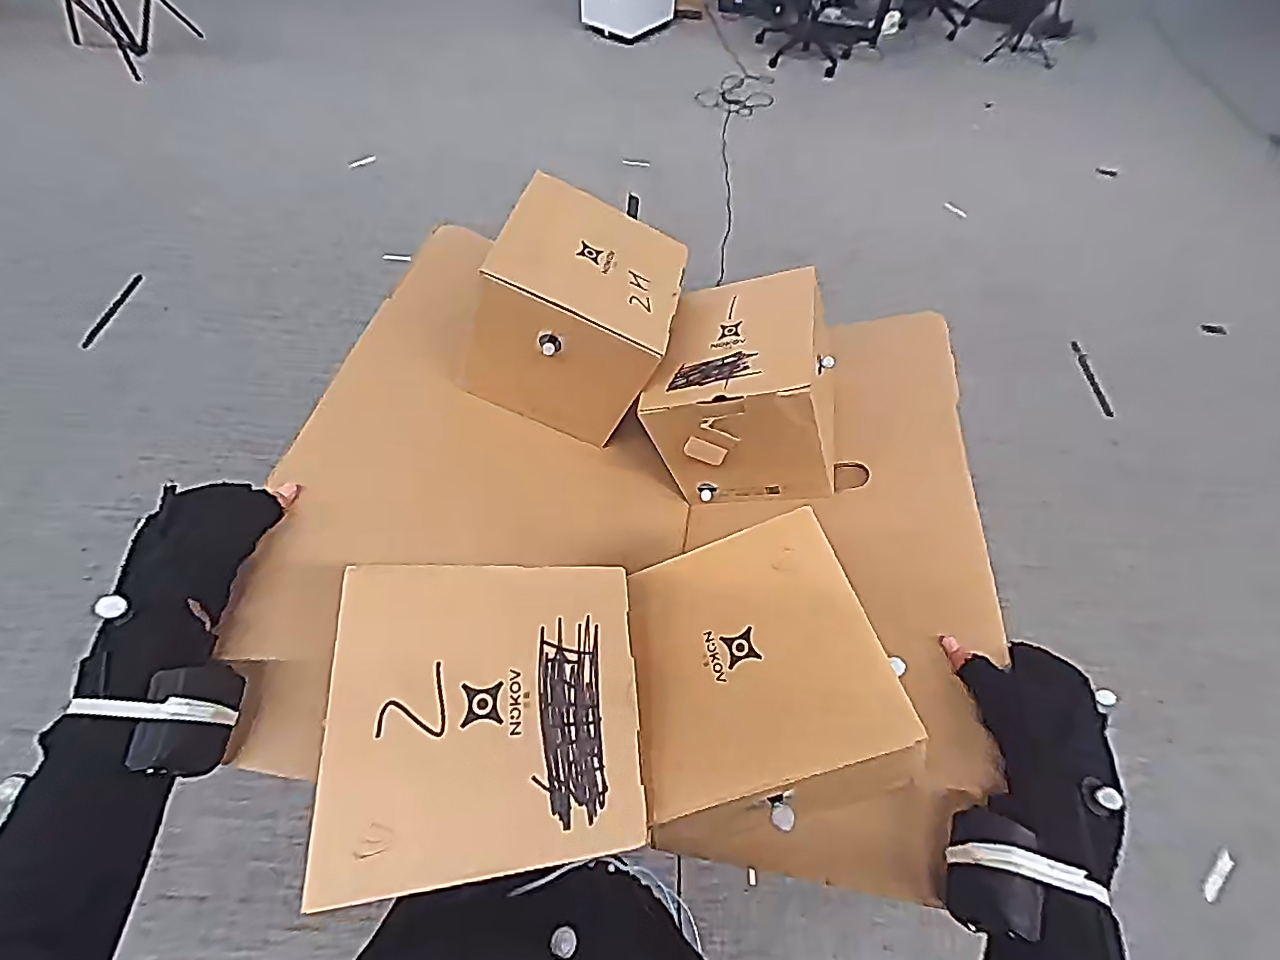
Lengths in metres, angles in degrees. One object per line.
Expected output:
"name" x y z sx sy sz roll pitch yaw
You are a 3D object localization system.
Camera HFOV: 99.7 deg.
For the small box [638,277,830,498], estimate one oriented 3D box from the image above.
"small box" 0.117 -0.089 0.604 0.168 0.176 0.179 -3 52 25
